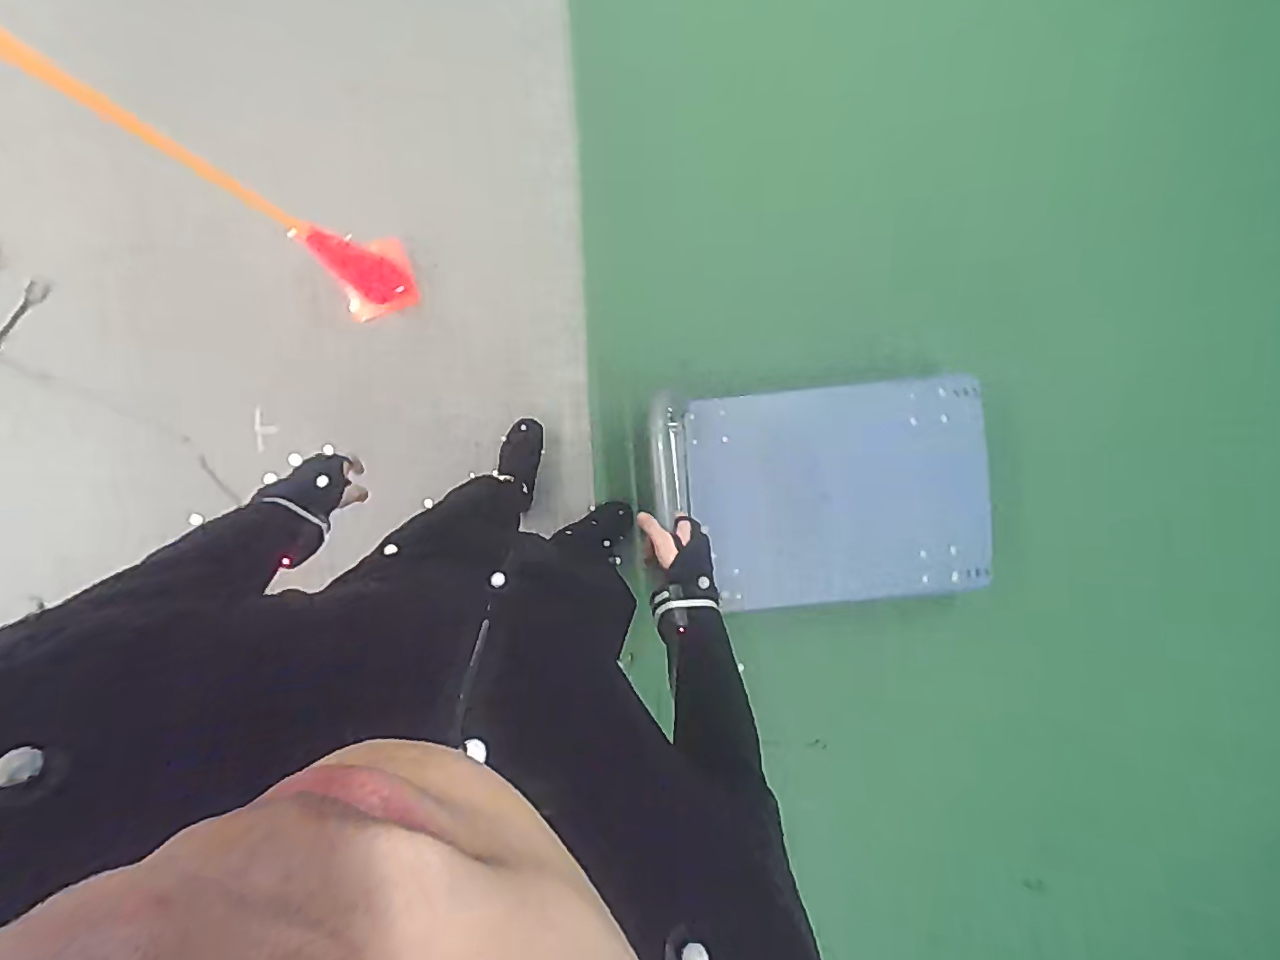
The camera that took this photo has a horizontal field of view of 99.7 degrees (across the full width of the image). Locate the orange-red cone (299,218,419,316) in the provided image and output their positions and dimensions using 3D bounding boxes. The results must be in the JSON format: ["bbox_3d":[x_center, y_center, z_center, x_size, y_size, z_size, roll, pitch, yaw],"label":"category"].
[{"bbox_3d":[-0.761,-0.588,1.408,0.198,0.360,0.199,-17,91,1],"label":"orange-red cone"}]
